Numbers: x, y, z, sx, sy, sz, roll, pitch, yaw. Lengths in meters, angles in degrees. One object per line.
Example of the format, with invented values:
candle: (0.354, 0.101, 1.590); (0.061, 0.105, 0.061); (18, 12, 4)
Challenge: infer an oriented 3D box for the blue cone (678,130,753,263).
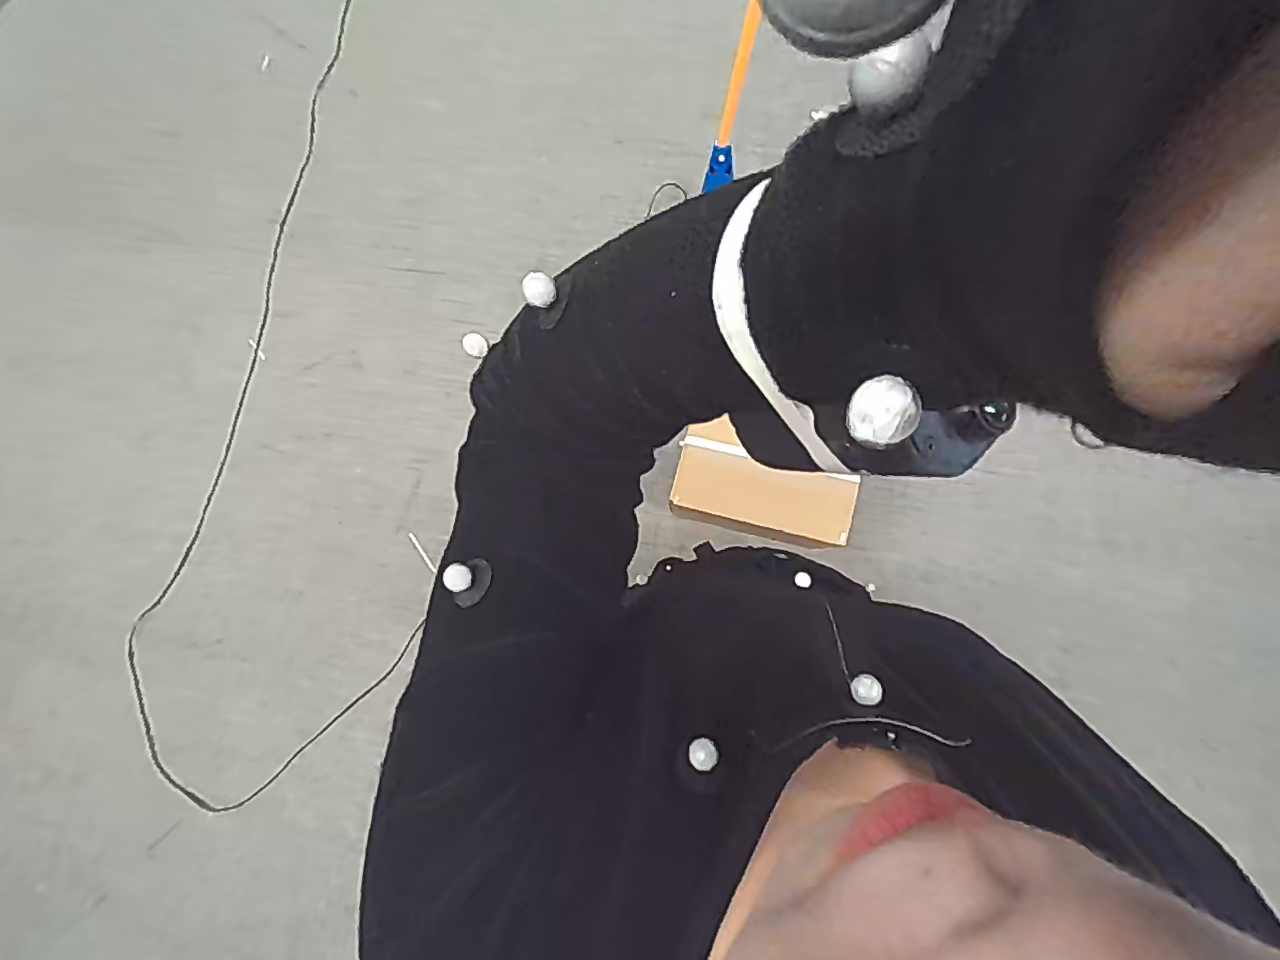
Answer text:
blue cone: (0.220, -0.806, 1.492); (0.192, 0.380, 0.193); (42, 85, 9)
